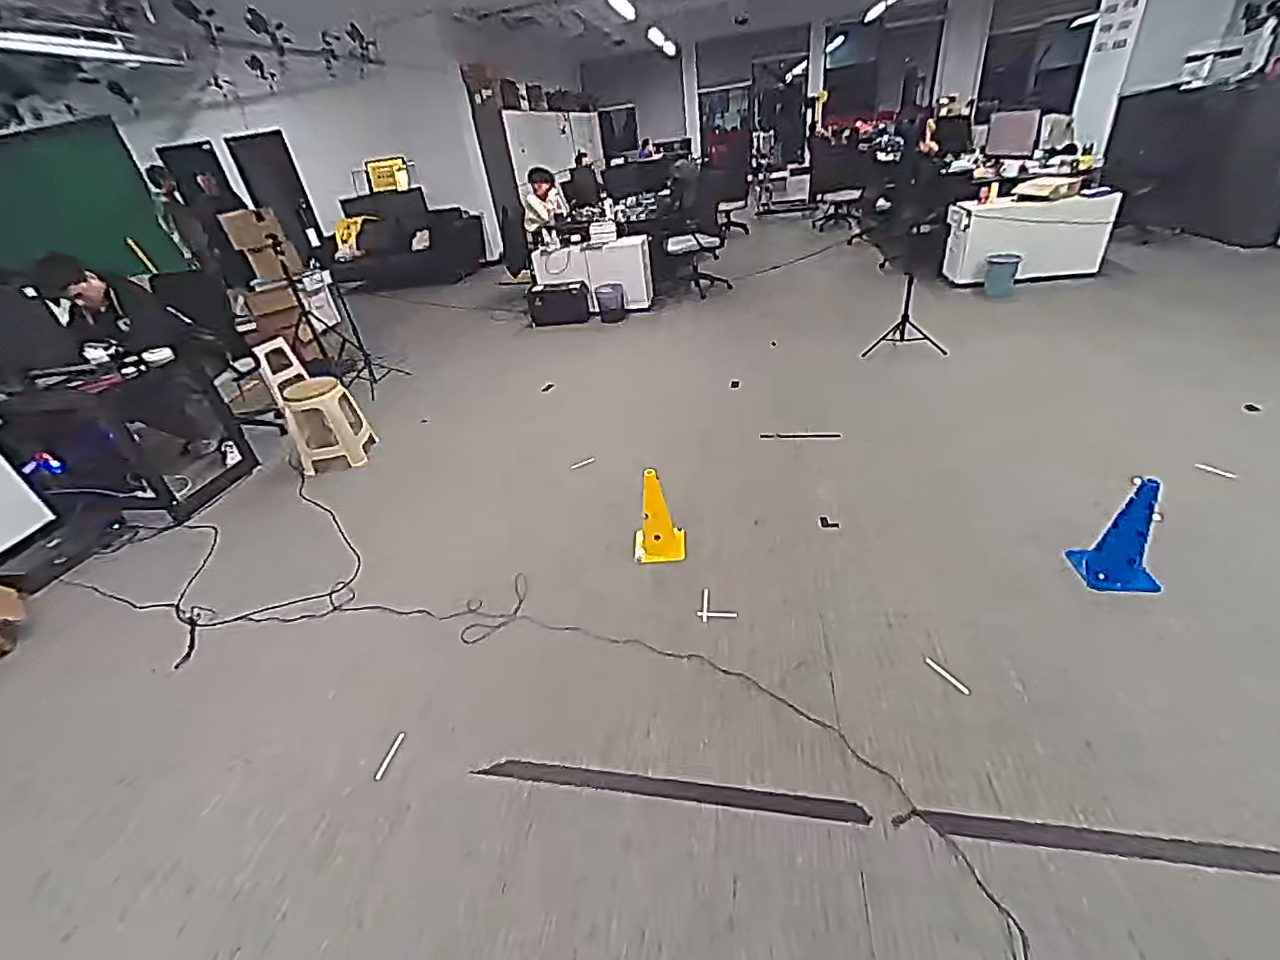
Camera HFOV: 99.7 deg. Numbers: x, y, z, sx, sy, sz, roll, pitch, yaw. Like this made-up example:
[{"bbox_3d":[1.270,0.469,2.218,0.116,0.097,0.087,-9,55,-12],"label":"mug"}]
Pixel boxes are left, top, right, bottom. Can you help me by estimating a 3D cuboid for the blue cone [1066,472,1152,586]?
[{"bbox_3d":[1.550,0.148,1.727,0.193,0.380,0.192,0,32,13],"label":"blue cone"}]
